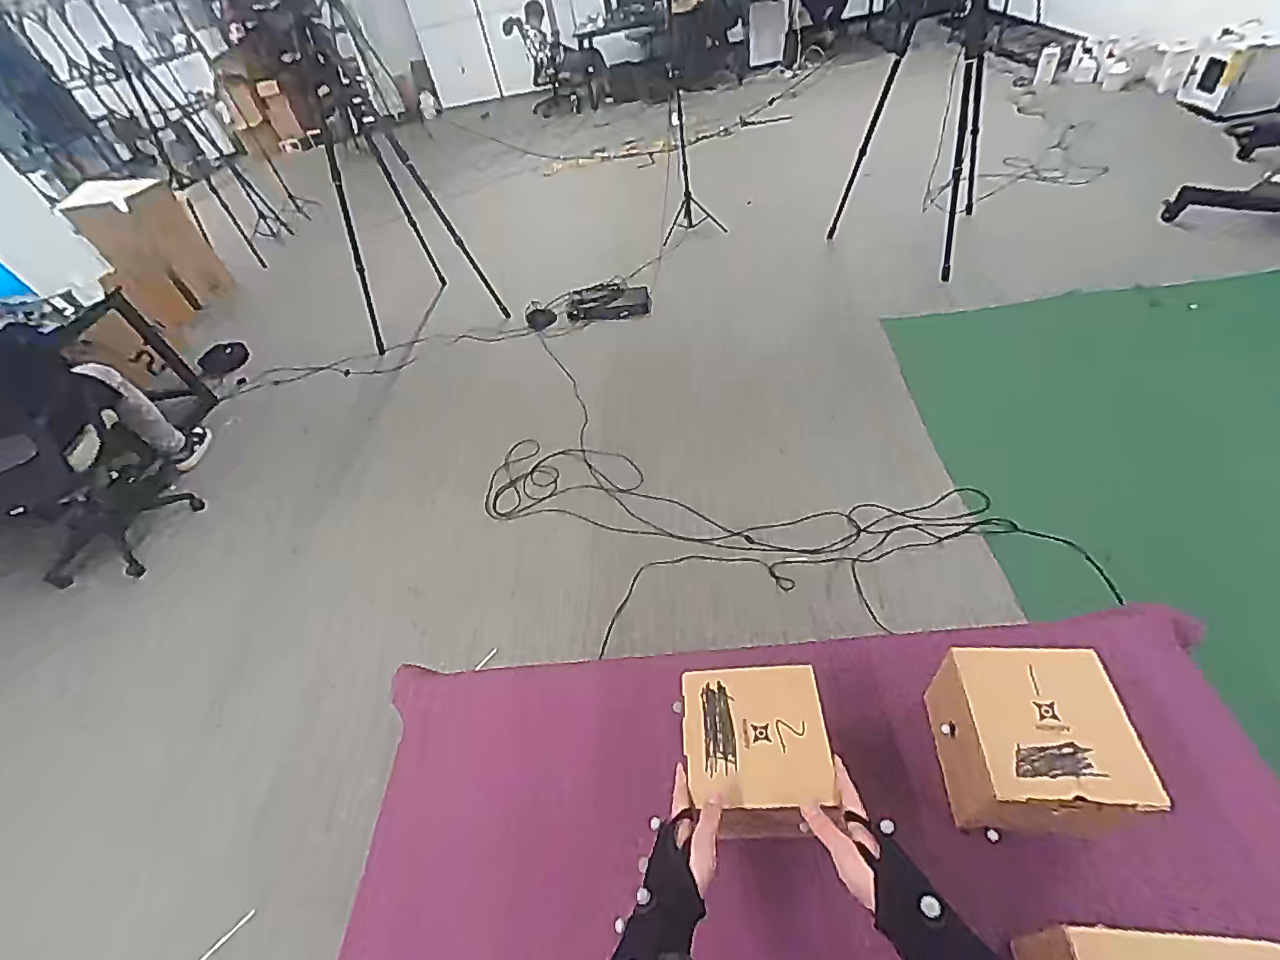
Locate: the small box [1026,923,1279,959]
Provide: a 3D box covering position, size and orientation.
[{"bbox_3d":[0.485,0.525,0.488,0.179,0.176,0.168,-3,46,11],"label":"small box"}]

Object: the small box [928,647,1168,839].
[{"bbox_3d":[0.482,0.329,0.676,0.168,0.176,0.179,-2,47,11],"label":"small box"}]
